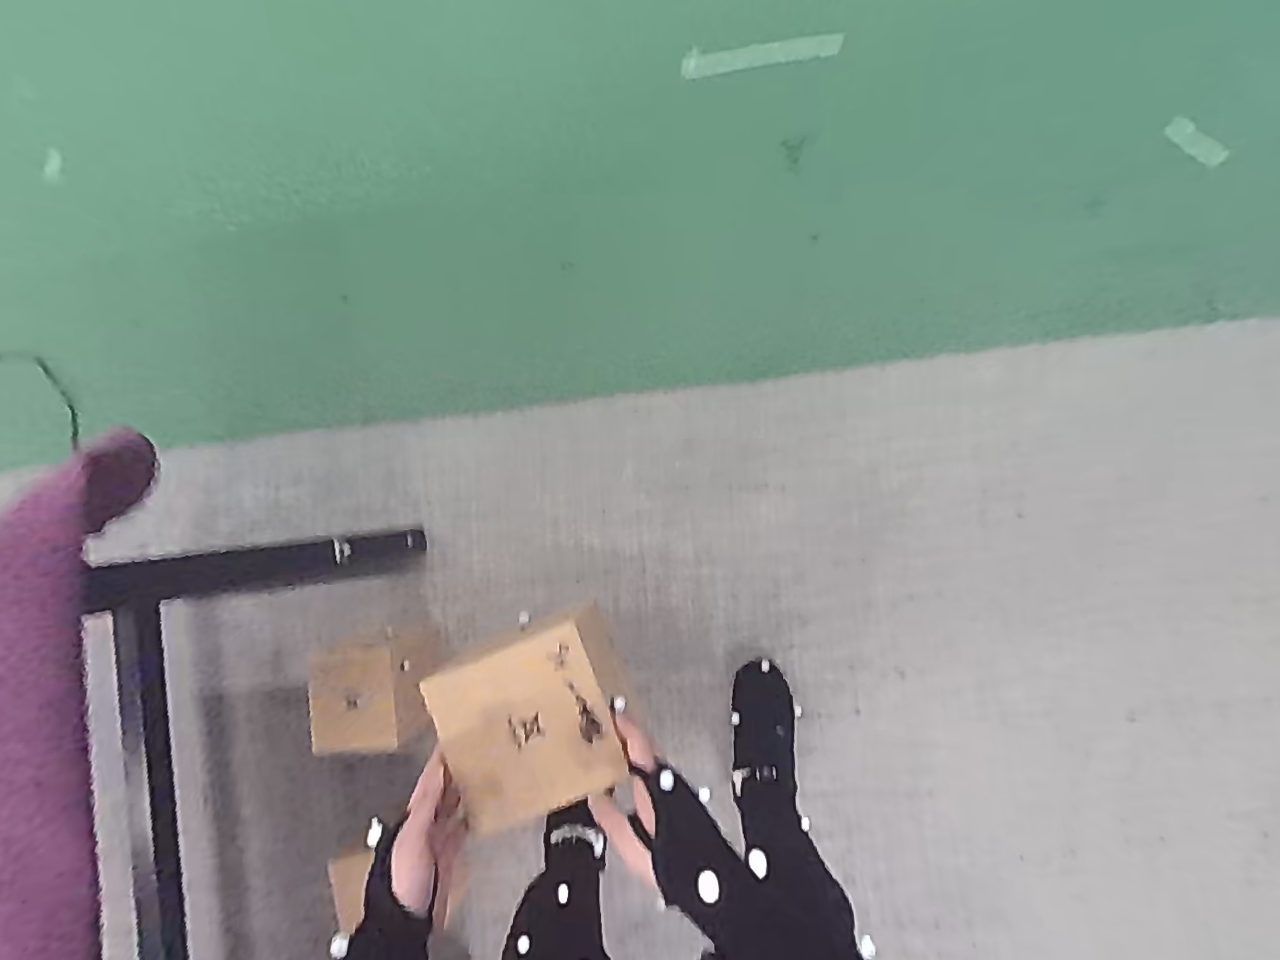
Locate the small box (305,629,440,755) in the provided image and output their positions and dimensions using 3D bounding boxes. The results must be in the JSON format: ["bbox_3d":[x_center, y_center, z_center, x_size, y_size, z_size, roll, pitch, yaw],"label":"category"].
[{"bbox_3d":[-0.496,0.393,1.024,0.168,0.176,0.179,-7,86,6],"label":"small box"}]

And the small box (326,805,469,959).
[{"bbox_3d":[-0.439,0.733,1.001,0.168,0.176,0.179,-14,87,6],"label":"small box"}]
